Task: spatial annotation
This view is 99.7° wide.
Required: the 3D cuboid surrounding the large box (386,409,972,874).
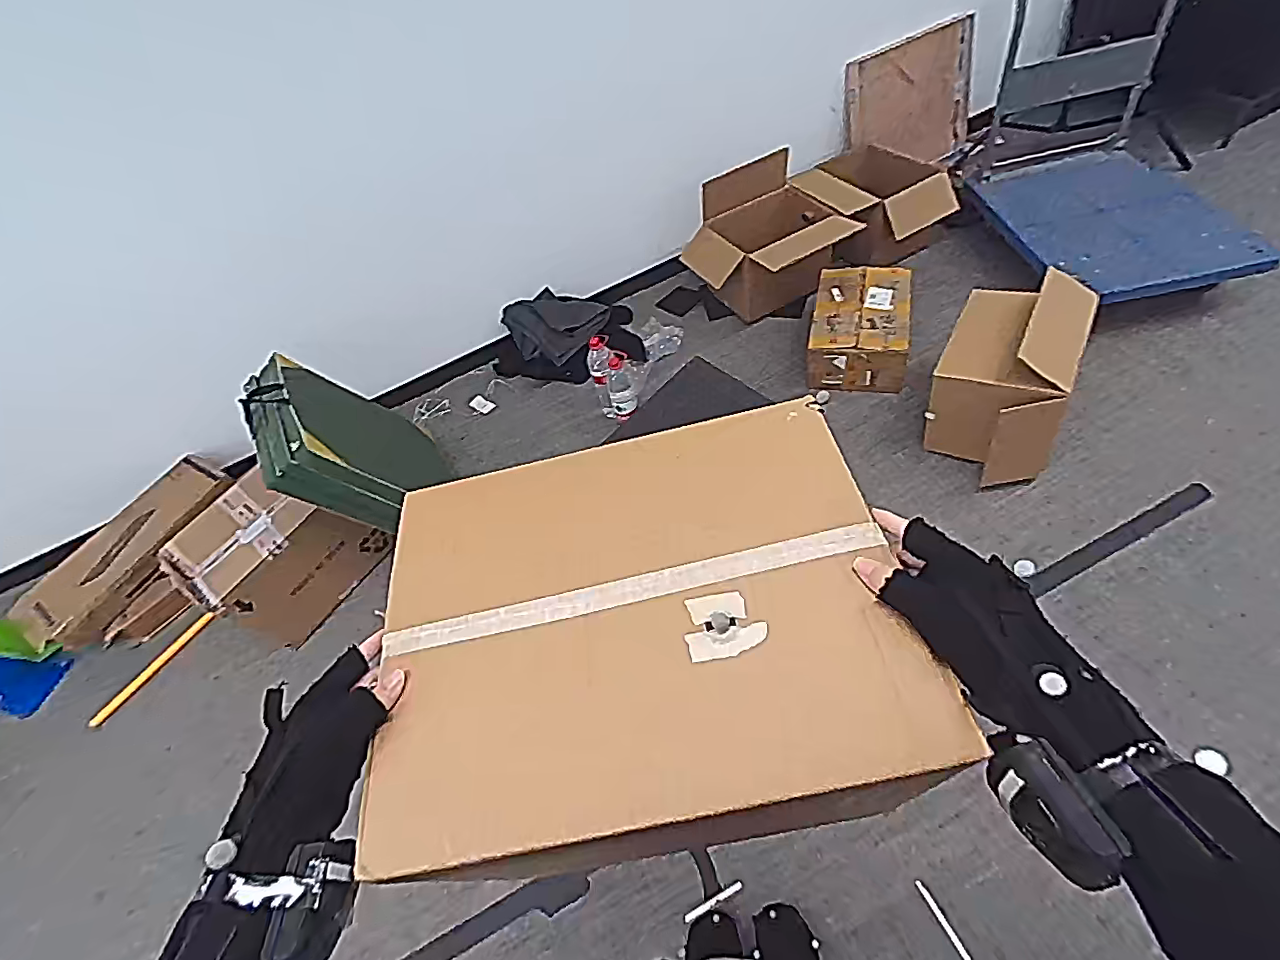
[{"bbox_3d":[0.023,0.181,0.559,0.408,0.320,0.320,-13,53,3],"label":"large box"}]
